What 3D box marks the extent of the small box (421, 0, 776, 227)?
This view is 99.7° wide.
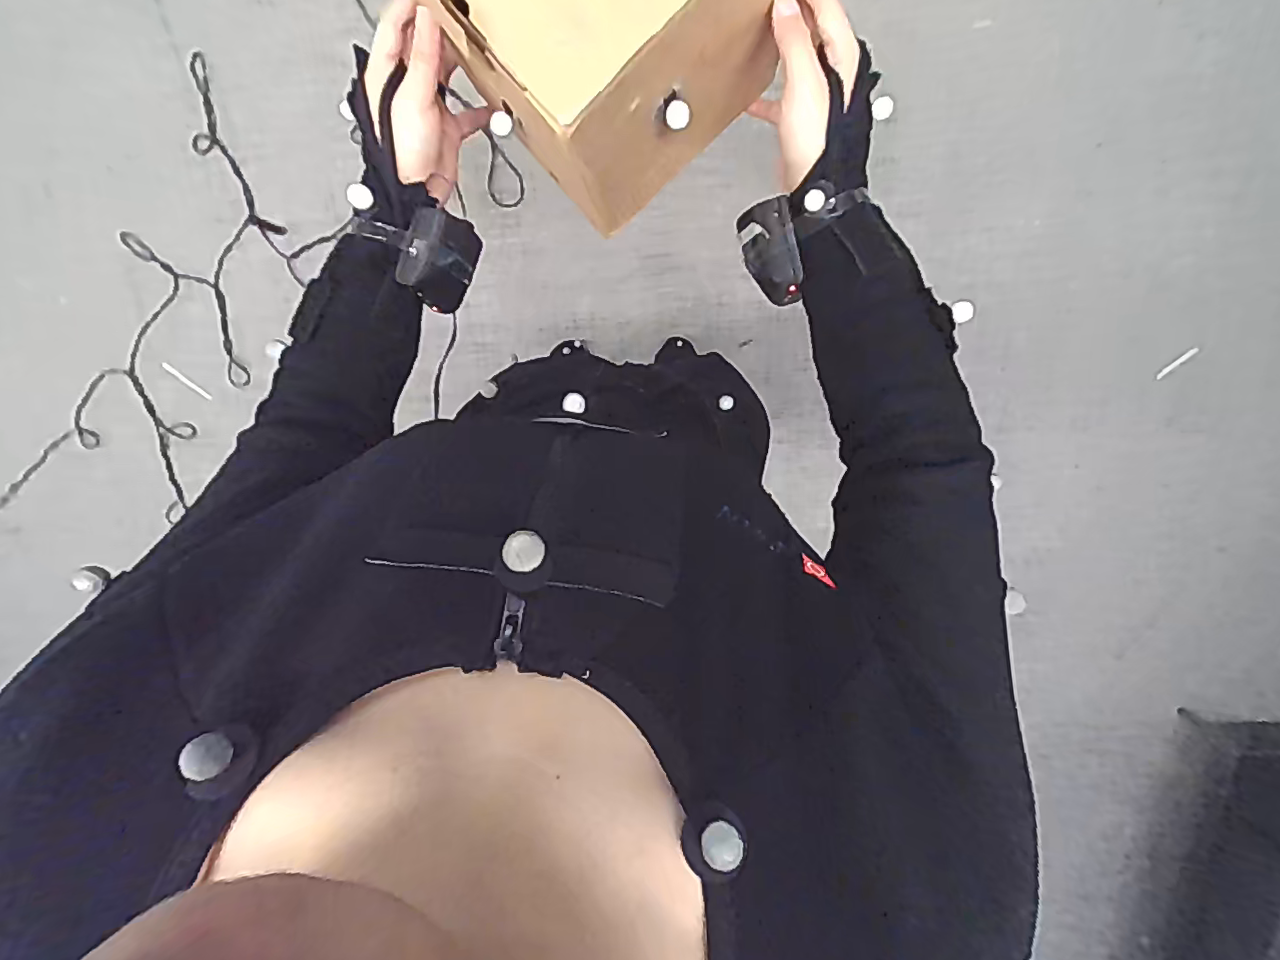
[{"bbox_3d":[-0.023,-0.305,0.353,0.179,0.176,0.168,-42,91,9],"label":"small box"}]
